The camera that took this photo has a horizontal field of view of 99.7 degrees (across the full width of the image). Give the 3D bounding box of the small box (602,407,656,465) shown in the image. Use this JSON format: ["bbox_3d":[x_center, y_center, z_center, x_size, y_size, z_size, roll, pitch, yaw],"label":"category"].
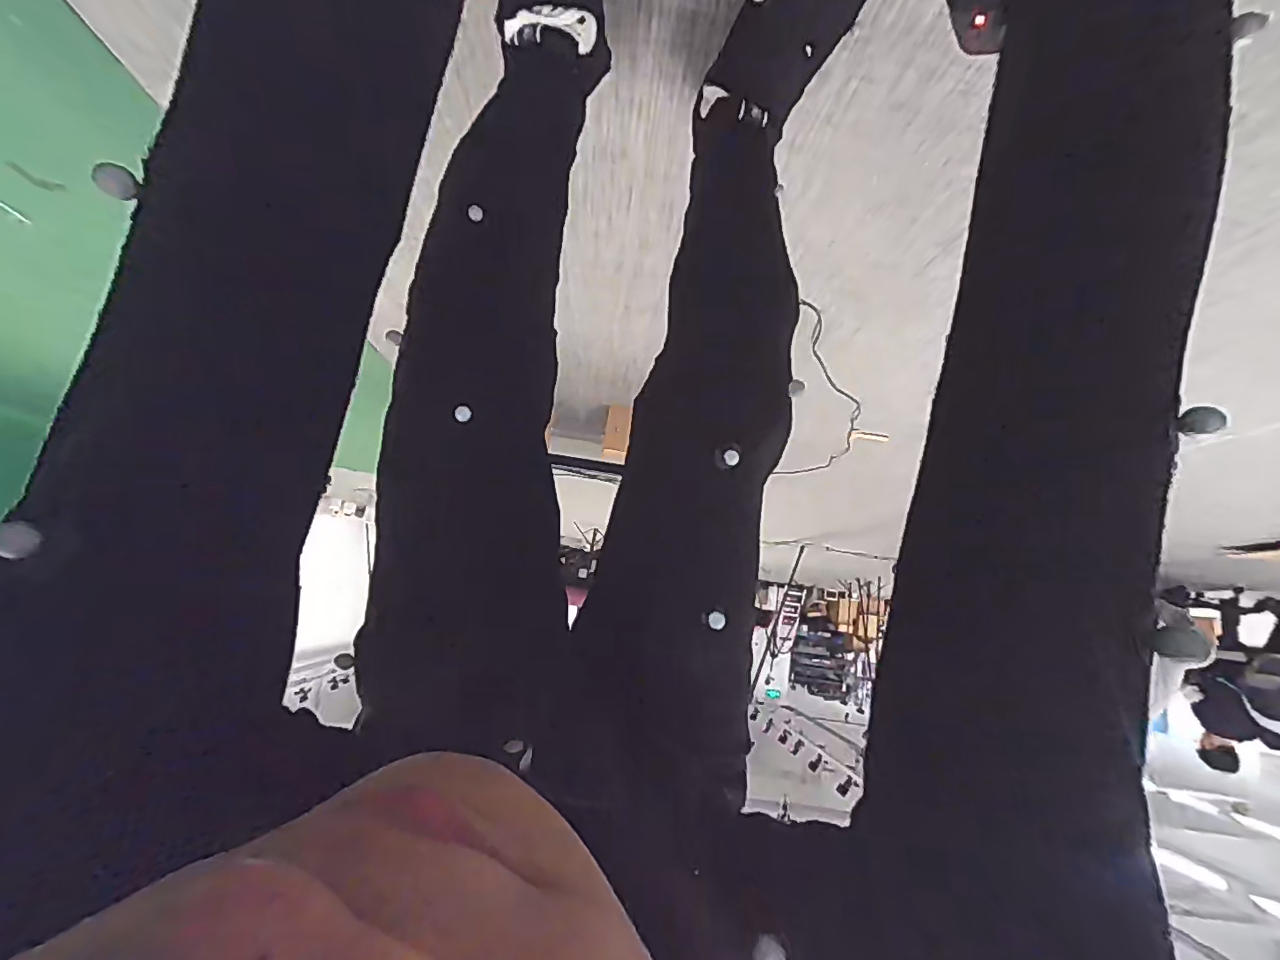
[{"bbox_3d":[-0.043,-0.168,2.058,0.179,0.176,0.168,9,169,-4],"label":"small box"}]

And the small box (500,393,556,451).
[{"bbox_3d":[-0.423,-0.221,2.061,0.168,0.176,0.179,9,169,0],"label":"small box"}]
